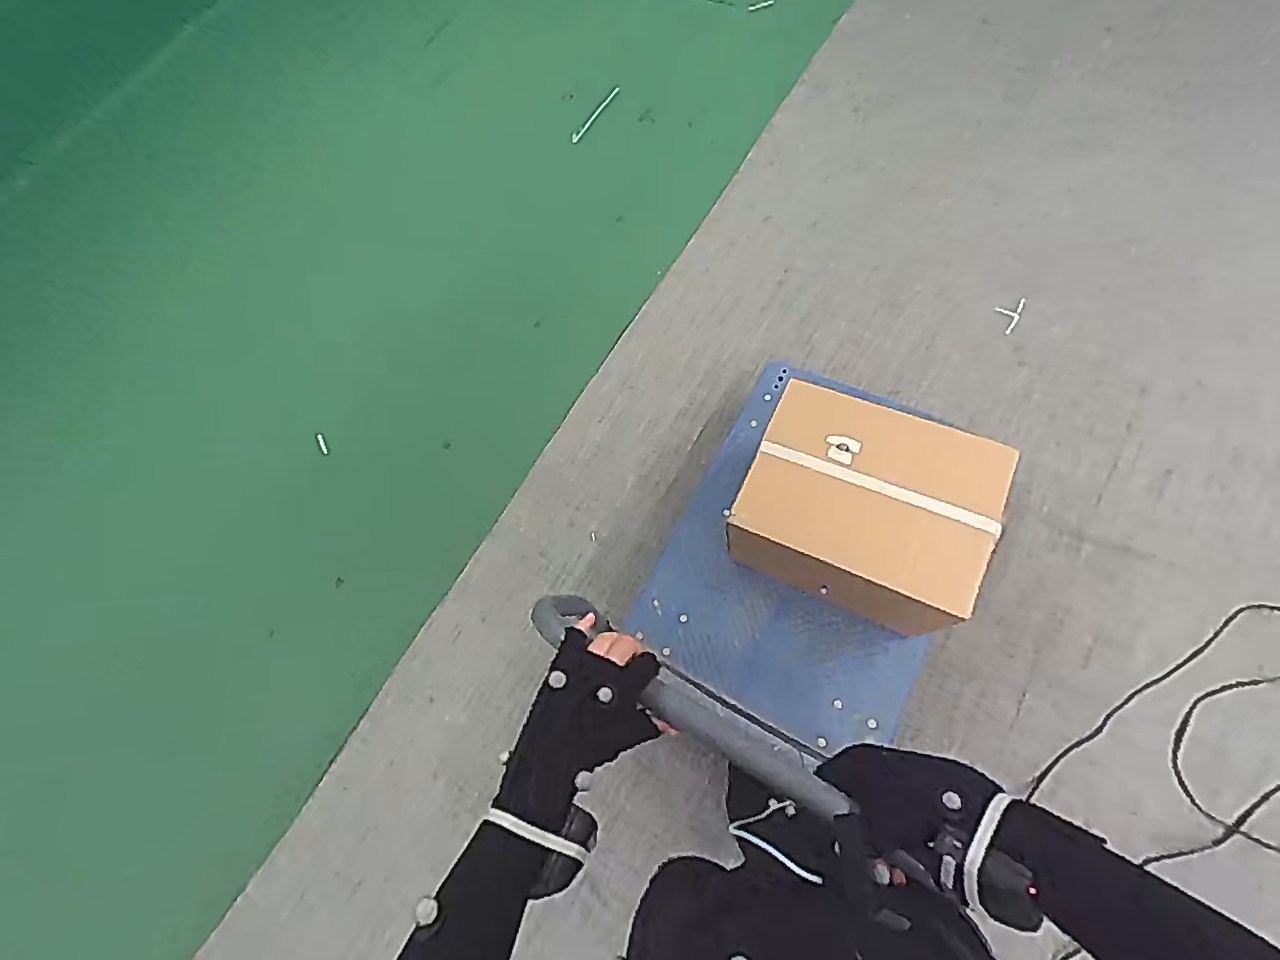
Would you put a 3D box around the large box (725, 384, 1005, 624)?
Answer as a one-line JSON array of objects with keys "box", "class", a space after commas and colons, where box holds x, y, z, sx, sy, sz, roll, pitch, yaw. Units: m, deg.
[{"box": [0.421, 0.060, 1.087, 0.408, 0.320, 0.320, 21, 75, 18], "class": "large box"}]
